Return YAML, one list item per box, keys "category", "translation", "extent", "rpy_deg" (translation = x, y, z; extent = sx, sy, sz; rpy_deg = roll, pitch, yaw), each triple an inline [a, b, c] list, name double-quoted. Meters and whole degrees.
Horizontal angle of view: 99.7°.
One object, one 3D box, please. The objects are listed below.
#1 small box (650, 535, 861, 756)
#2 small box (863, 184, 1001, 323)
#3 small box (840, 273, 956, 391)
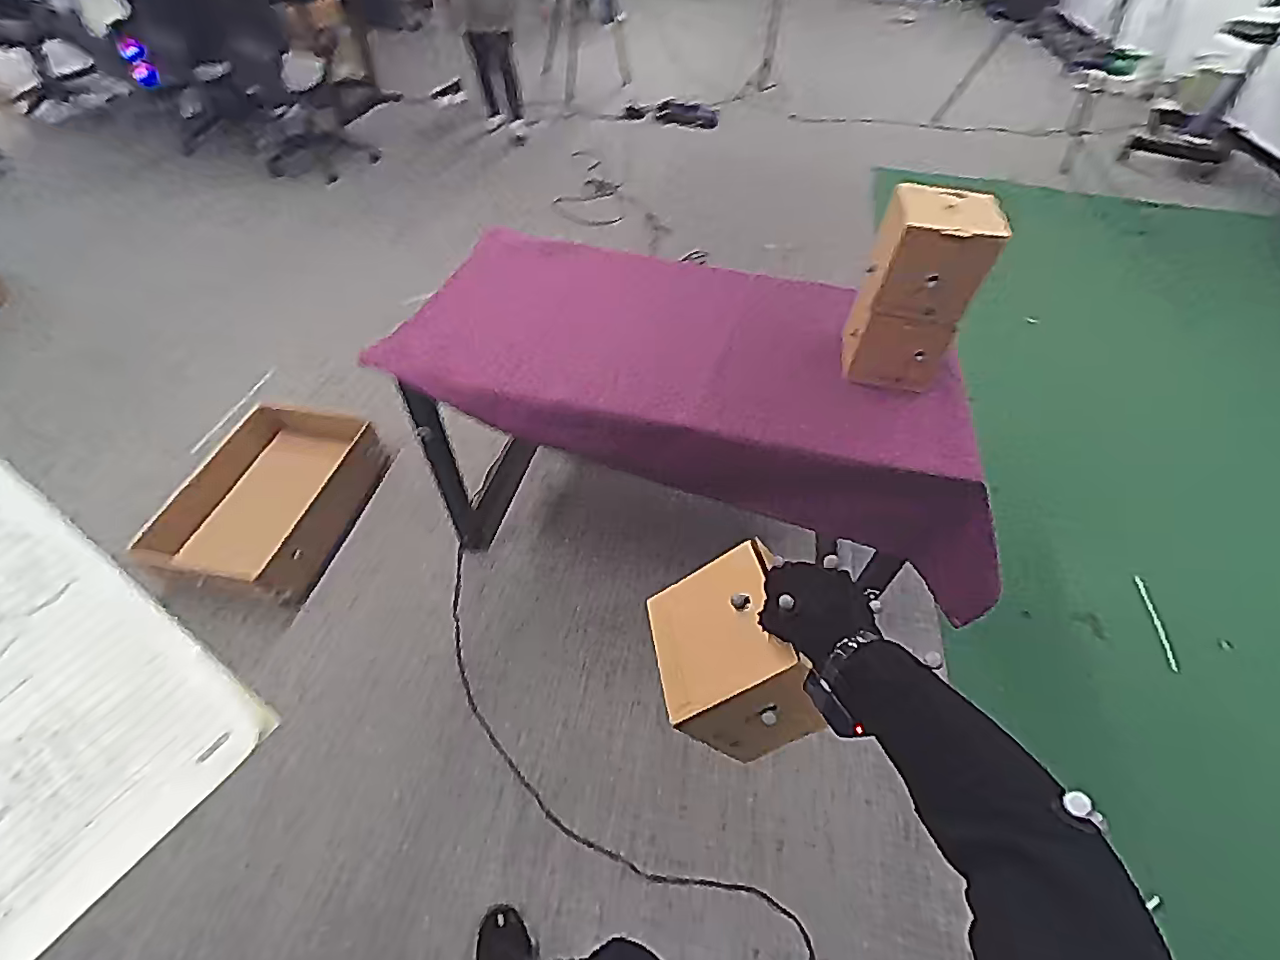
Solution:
- category: "small box"
  translation: [0.132, 0.210, 0.671]
  extent: [0.176, 0.168, 0.179]
  rpy_deg: [-35, 36, 17]
- category: "small box"
  translation: [0.527, -0.415, 1.002]
  extent: [0.168, 0.176, 0.179]
  rpy_deg: [12, 52, 6]
- category: "small box"
  translation: [0.526, -0.310, 1.128]
  extent: [0.168, 0.176, 0.179]
  rpy_deg: [12, 50, 7]
